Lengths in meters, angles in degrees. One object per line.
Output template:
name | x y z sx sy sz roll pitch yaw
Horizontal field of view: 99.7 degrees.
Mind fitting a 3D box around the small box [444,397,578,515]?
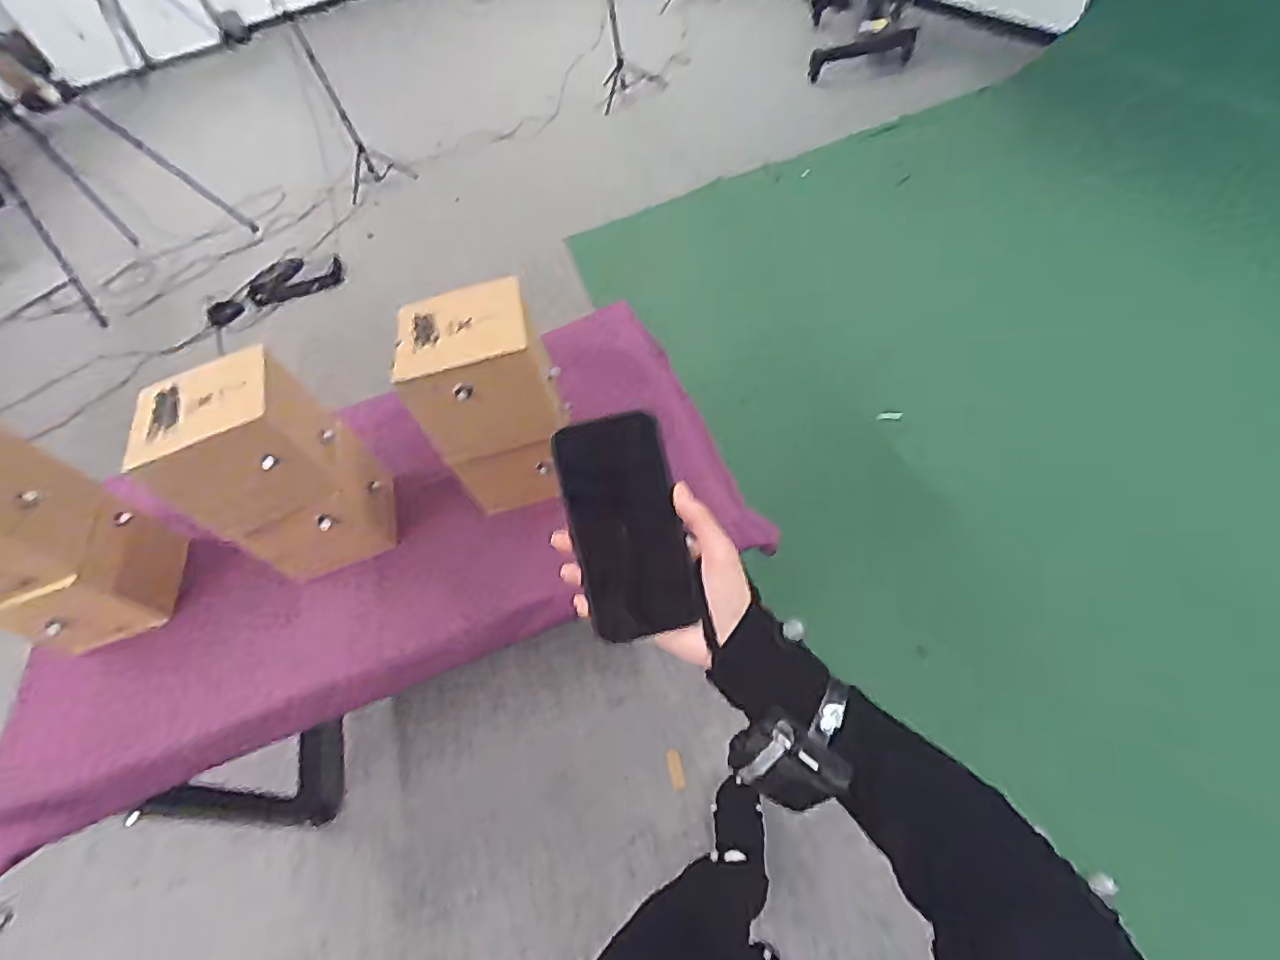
small box | -0.211 -0.066 0.915 0.179 0.176 0.168 -16 52 1

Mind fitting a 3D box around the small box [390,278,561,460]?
small box | -0.228 -0.152 0.776 0.179 0.176 0.168 -16 53 0

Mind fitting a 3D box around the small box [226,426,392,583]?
small box | -0.534 0.044 0.904 0.179 0.176 0.168 -21 53 -3

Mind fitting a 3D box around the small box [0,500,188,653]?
small box | -0.905 0.169 0.896 0.168 0.176 0.179 -20 53 -3

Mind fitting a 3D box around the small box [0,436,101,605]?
small box | -0.936 0.067 0.770 0.168 0.176 0.179 -24 54 -6
